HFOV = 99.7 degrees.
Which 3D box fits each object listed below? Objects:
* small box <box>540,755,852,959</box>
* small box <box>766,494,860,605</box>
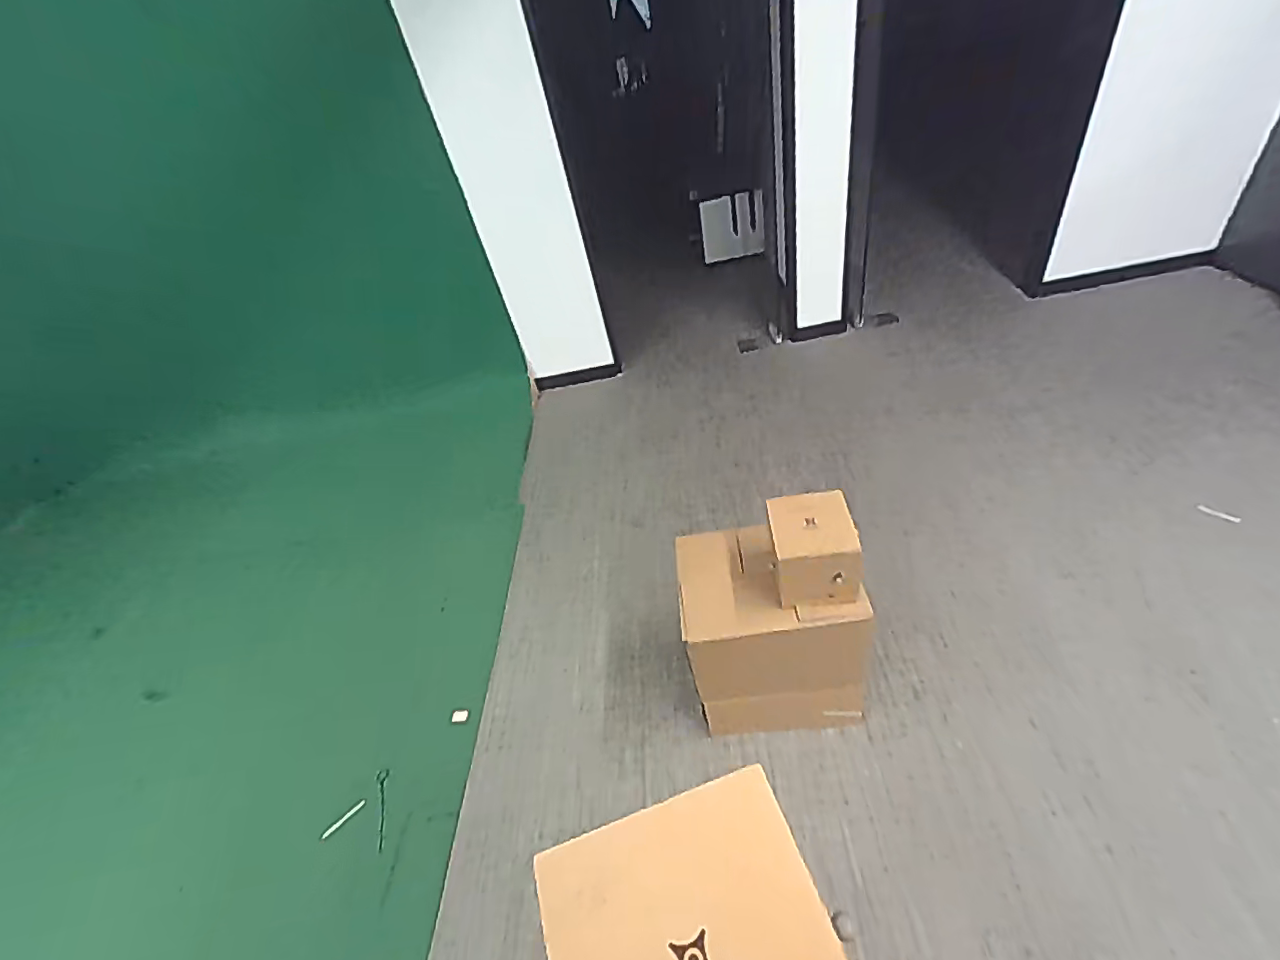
[{"bbox_3d":[0.045,0.327,0.369,0.168,0.176,0.179,-20,47,-5],"label":"small box"},{"bbox_3d":[0.374,0.157,1.178,0.168,0.176,0.179,-8,39,10],"label":"small box"}]
